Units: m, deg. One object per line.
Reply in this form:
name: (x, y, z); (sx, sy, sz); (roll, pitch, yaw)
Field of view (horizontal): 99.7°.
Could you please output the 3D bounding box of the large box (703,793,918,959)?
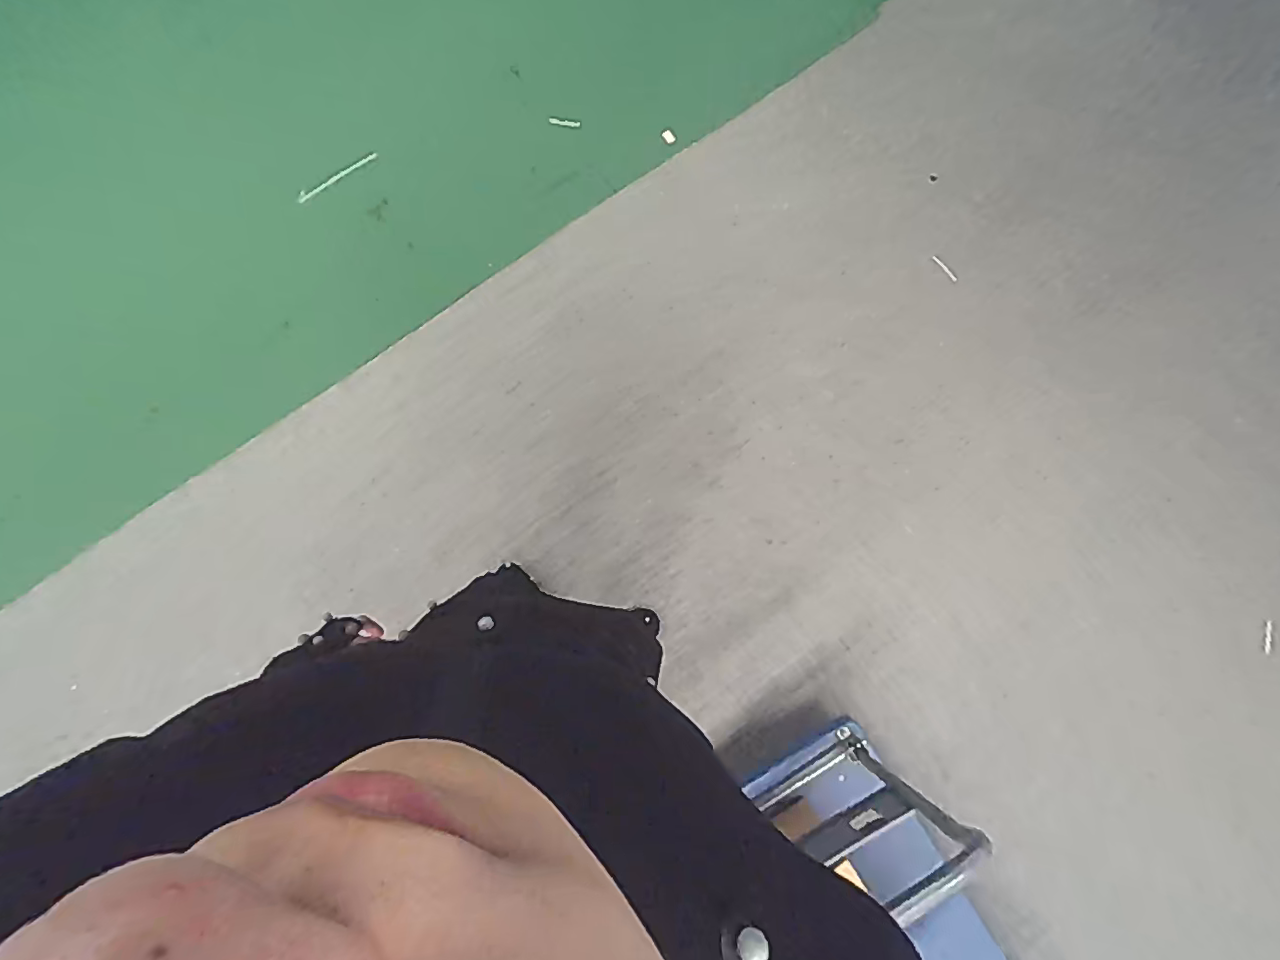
large box: (0.382, 0.994, 1.166); (0.320, 0.320, 0.408); (-31, 81, -4)
